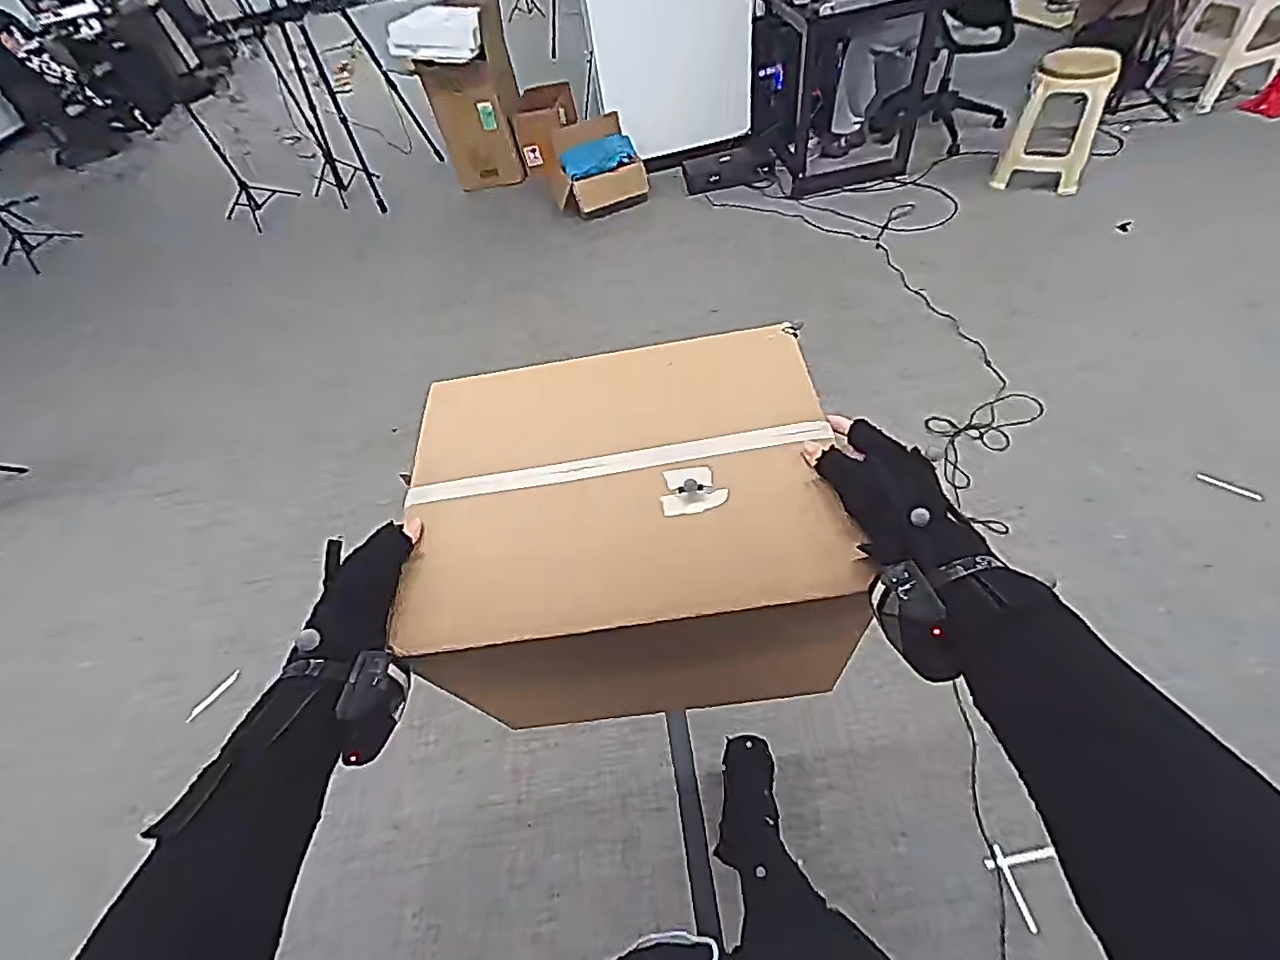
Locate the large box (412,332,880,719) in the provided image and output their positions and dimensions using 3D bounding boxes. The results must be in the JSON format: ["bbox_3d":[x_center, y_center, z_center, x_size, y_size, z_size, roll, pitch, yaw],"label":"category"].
[{"bbox_3d":[0.004,0.070,0.652,0.408,0.320,0.320,-9,55,3],"label":"large box"}]
